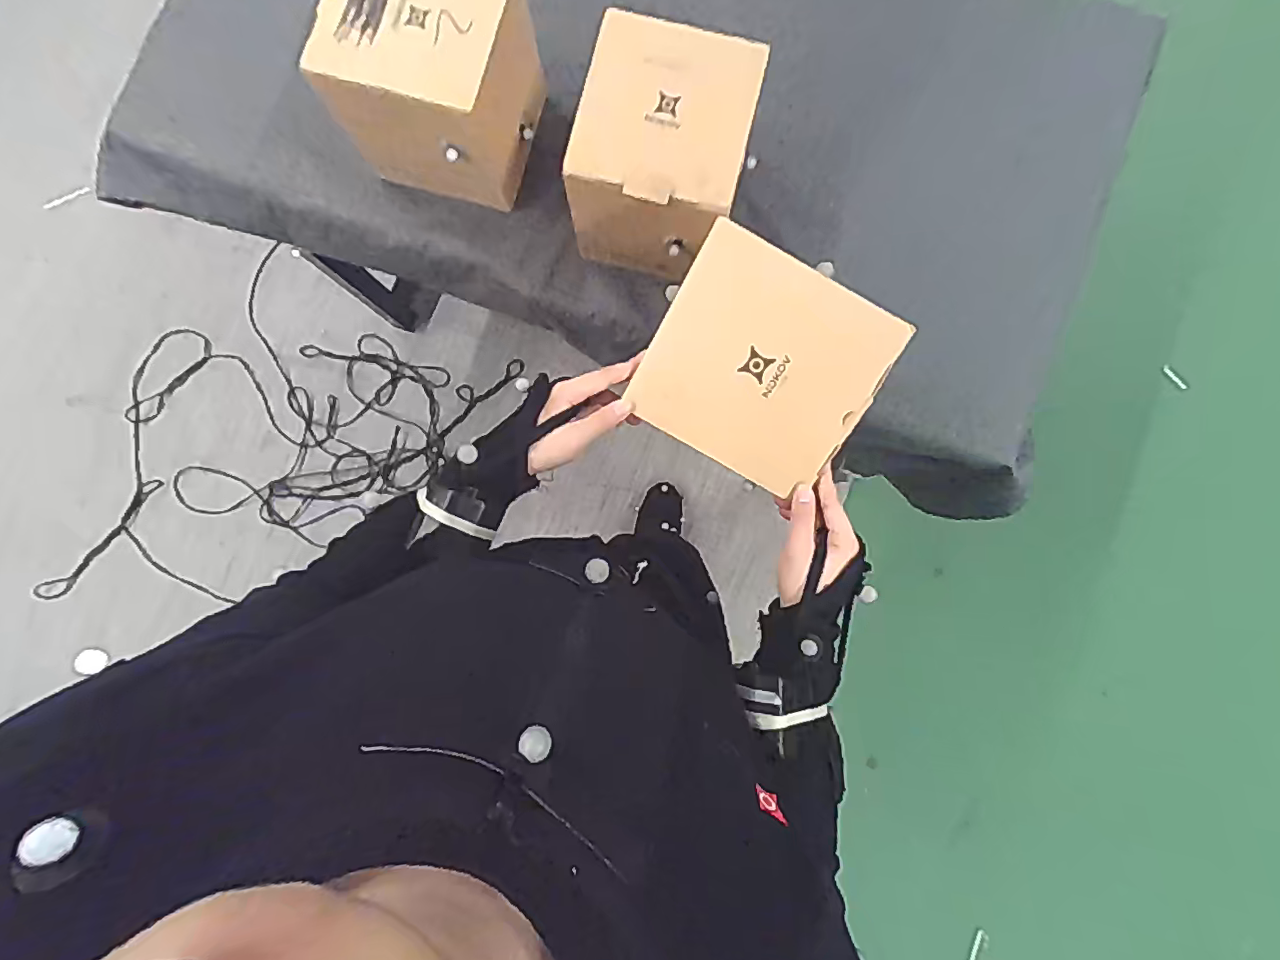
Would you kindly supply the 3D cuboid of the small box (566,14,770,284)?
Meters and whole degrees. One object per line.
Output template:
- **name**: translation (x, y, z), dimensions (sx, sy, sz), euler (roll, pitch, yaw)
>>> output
- **small box**: translation (0.028, -0.344, 0.596), dimensions (0.168, 0.176, 0.179), euler (14, 85, 0)
